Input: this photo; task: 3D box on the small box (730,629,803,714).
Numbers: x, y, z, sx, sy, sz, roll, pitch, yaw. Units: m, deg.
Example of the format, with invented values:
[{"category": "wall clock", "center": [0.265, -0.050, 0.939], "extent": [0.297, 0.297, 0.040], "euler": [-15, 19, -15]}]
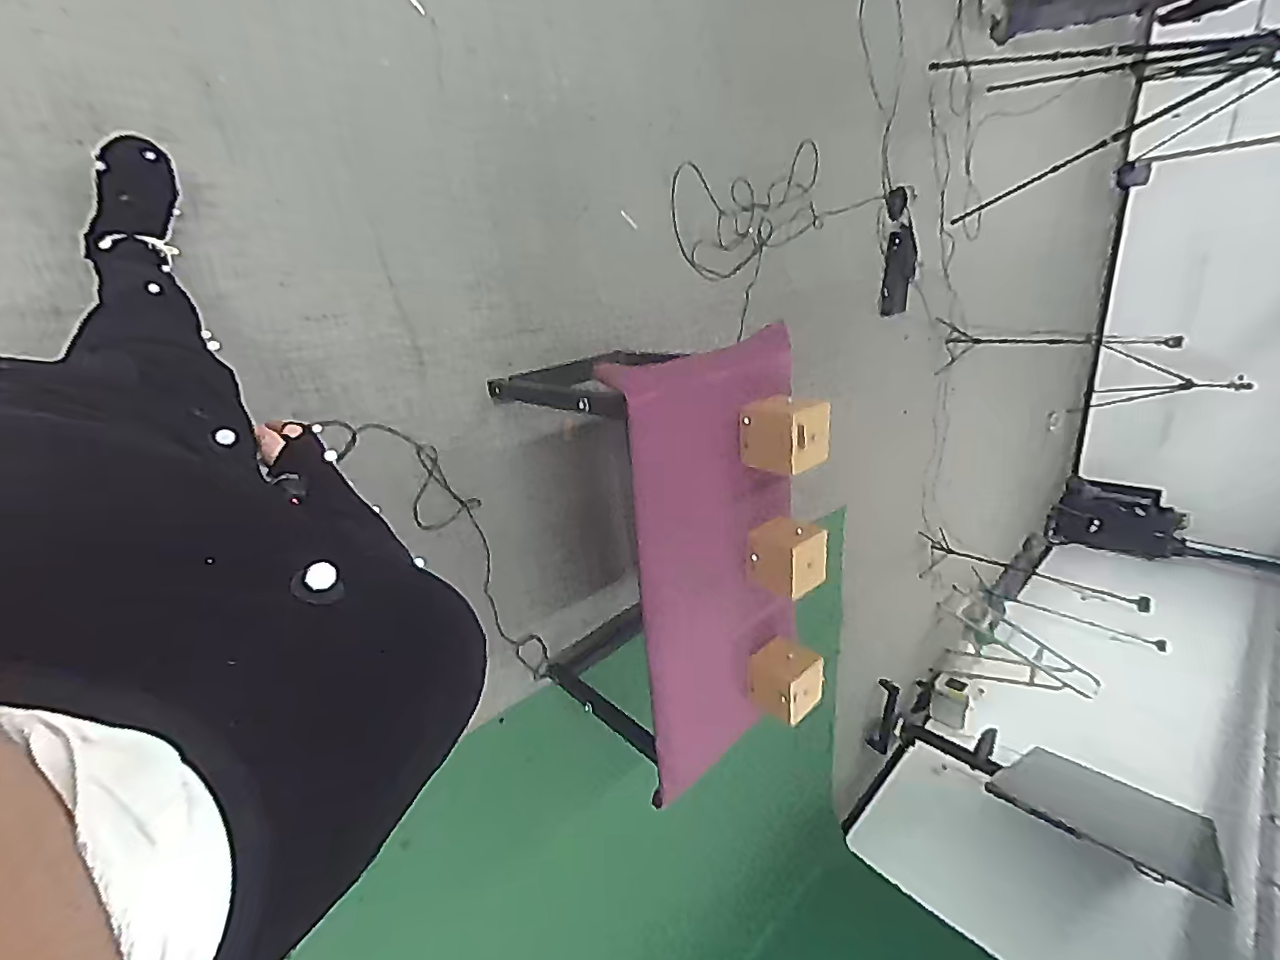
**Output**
[{"category": "small box", "center": [0.415, 0.622, 1.783], "extent": [0.179, 0.176, 0.168], "euler": [-21, 115, -39]}]

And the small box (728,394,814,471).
[{"category": "small box", "center": [0.358, -0.136, 1.493], "extent": [0.179, 0.176, 0.168], "euler": [-21, 117, -38]}]

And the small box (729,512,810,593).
[{"category": "small box", "center": [0.392, 0.211, 1.637], "extent": [0.179, 0.176, 0.168], "euler": [-19, 114, -39]}]
